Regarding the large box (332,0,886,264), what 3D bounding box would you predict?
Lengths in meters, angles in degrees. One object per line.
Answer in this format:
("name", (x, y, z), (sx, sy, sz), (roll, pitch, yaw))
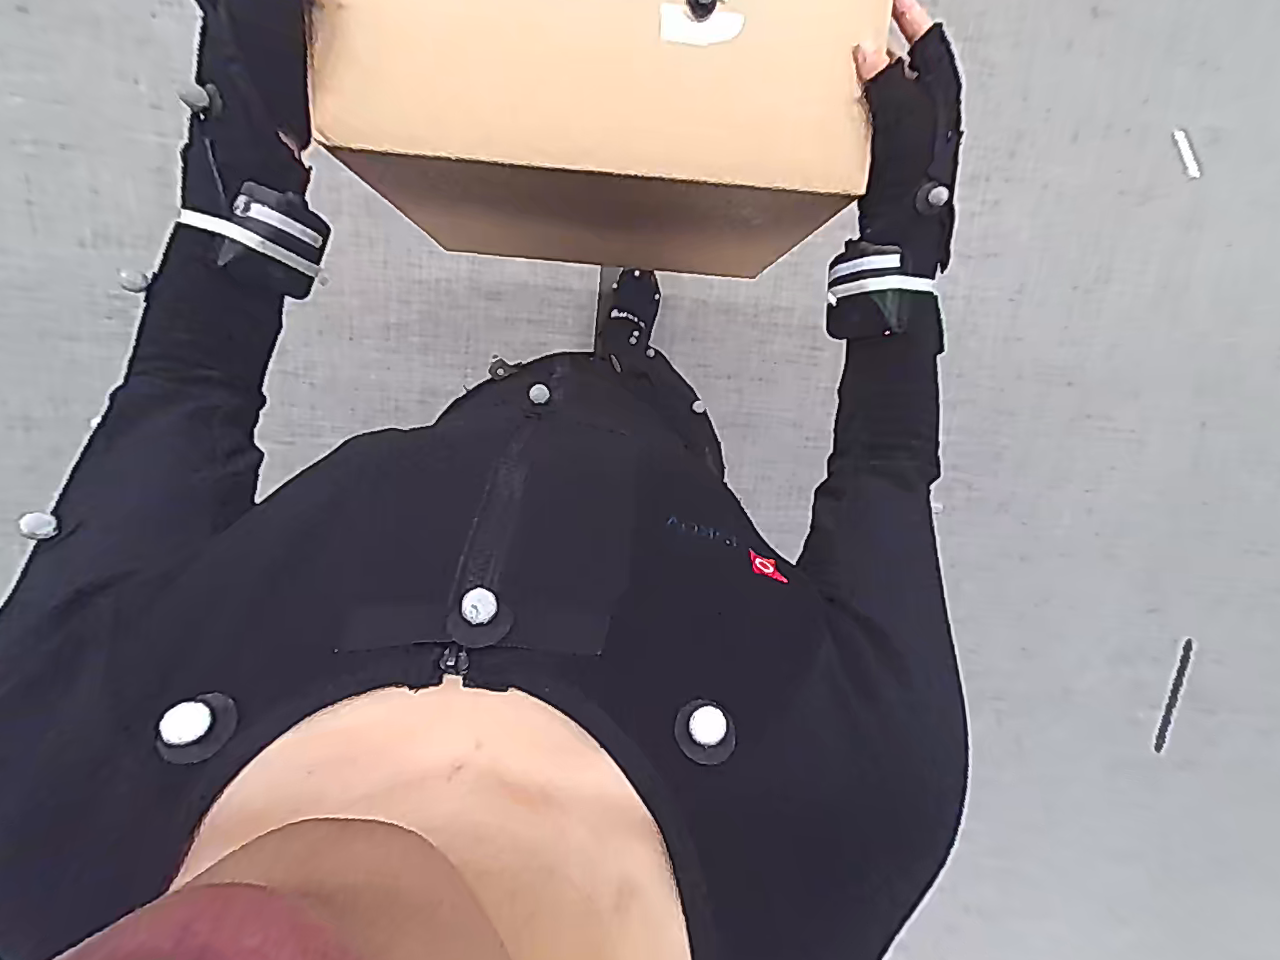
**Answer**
("large box", (-0.025, -0.414, 0.525), (0.408, 0.320, 0.320), (3, 100, -5))
